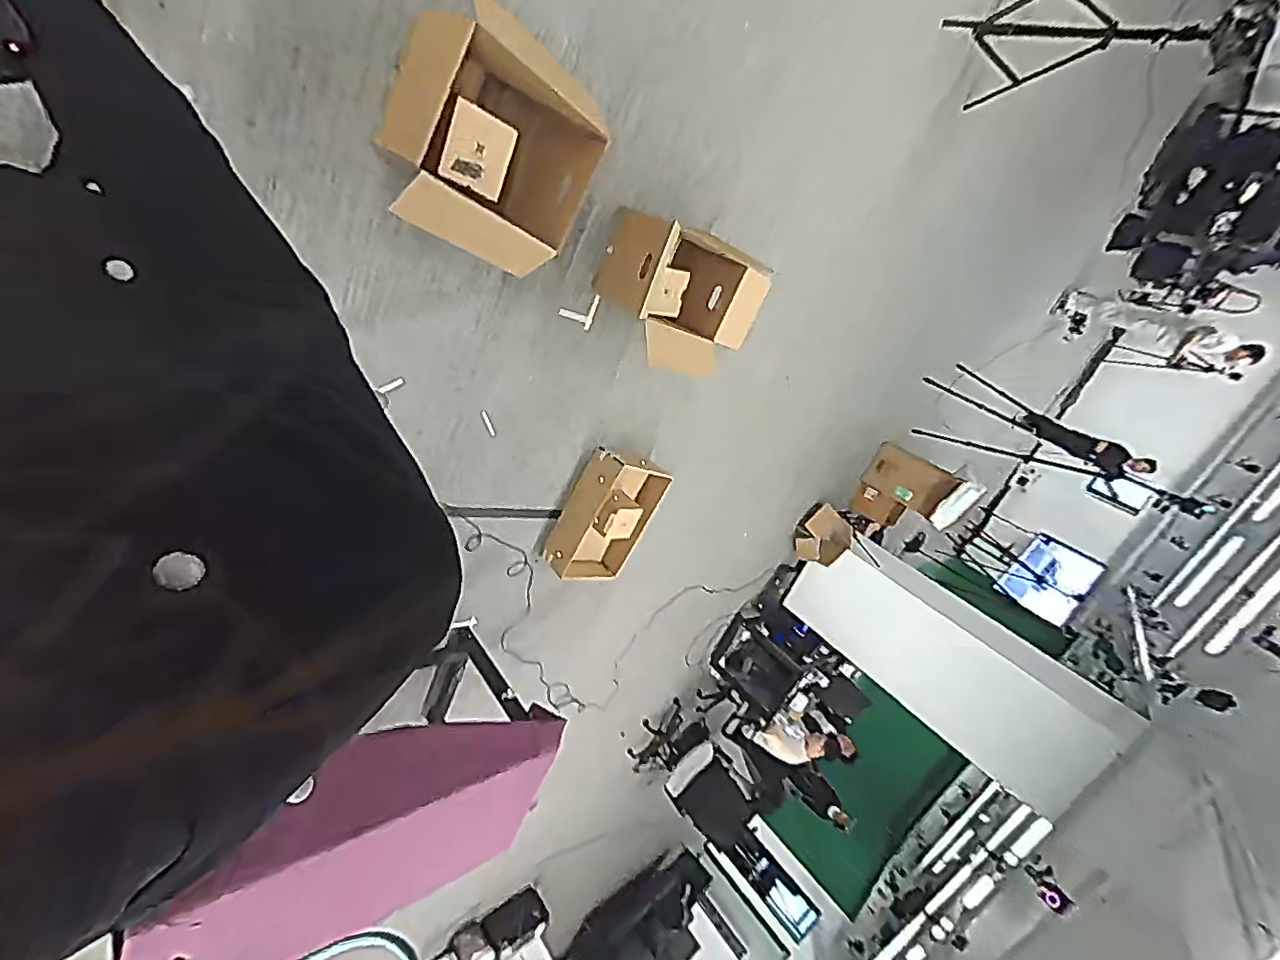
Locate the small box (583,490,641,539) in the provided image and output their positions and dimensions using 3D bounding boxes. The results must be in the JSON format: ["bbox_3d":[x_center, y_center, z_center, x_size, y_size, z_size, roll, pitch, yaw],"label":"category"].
[{"bbox_3d":[-0.136,0.160,2.533,0.179,0.176,0.168,4,119,-50],"label":"small box"}]
